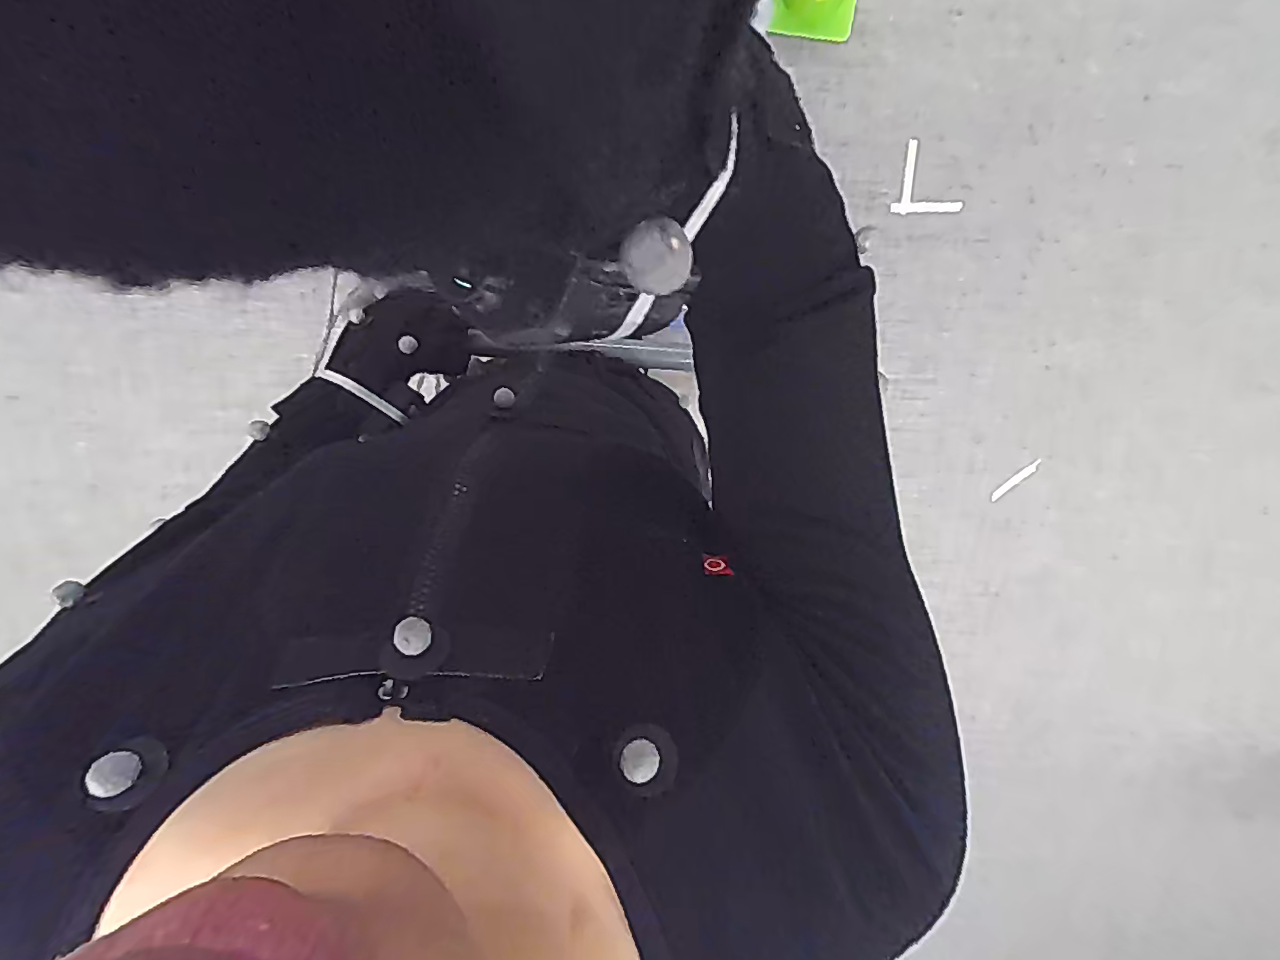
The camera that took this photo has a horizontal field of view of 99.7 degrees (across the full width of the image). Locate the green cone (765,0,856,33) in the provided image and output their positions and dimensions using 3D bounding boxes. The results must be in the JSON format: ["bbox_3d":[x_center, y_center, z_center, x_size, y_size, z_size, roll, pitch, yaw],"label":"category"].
[{"bbox_3d":[0.382,-1.033,0.994,0.202,0.368,0.200,5,108,-4],"label":"green cone"}]
